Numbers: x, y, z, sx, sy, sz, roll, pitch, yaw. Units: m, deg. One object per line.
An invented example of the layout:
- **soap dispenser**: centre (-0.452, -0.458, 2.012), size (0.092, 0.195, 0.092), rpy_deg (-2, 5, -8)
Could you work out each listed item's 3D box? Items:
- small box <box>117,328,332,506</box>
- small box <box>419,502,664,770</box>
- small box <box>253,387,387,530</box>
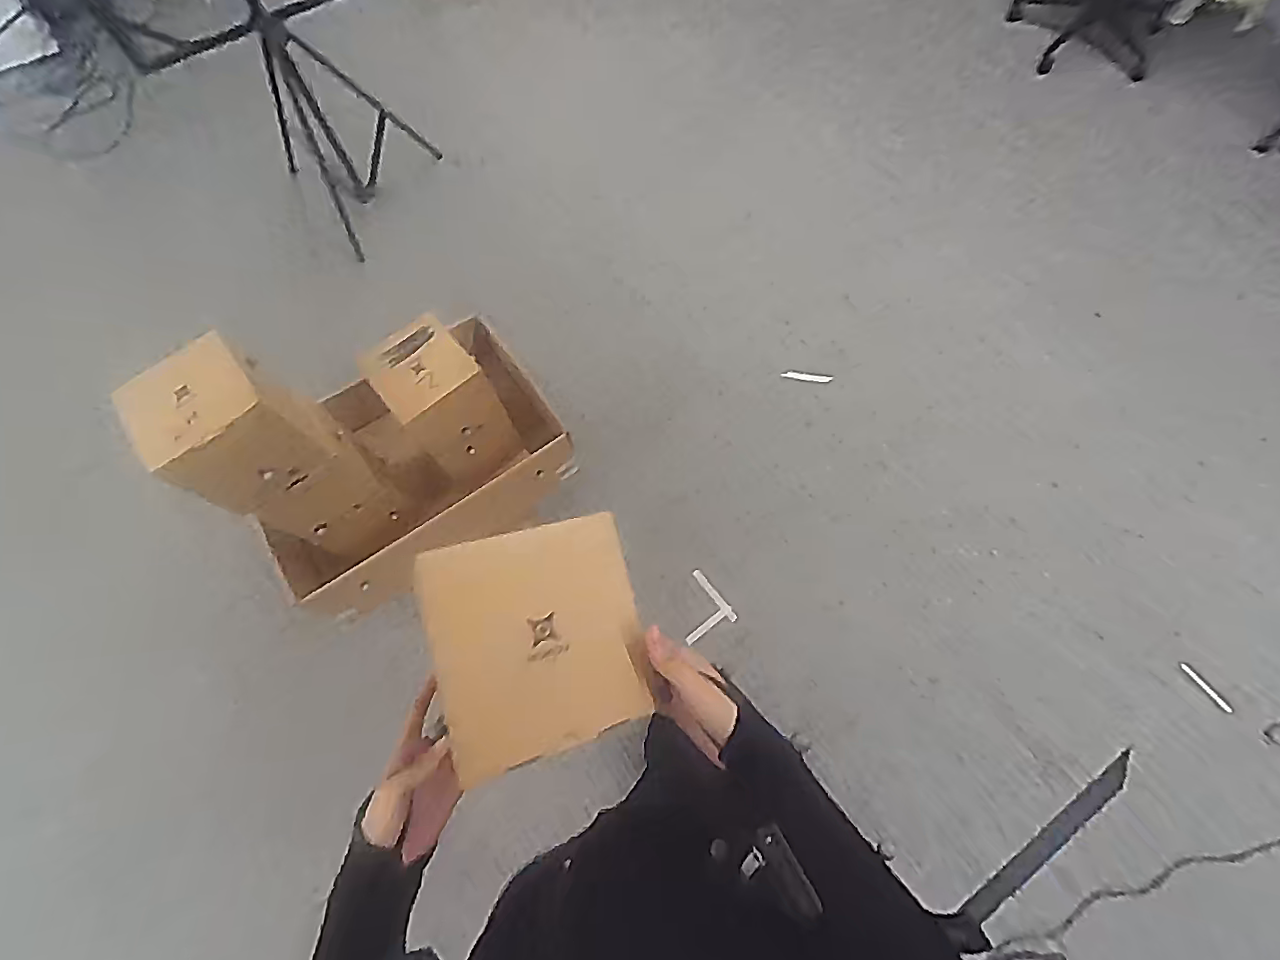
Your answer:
- **small box**: centre (-0.623, -0.088, 0.829), size (0.168, 0.176, 0.179), rpy_deg (-39, 70, -12)
- **small box**: centre (-0.104, 0.133, 0.505), size (0.168, 0.176, 0.179), rpy_deg (-11, 82, -26)
- **small box**: centre (-0.600, -0.028, 0.982), size (0.168, 0.176, 0.179), rpy_deg (-37, 70, -11)
